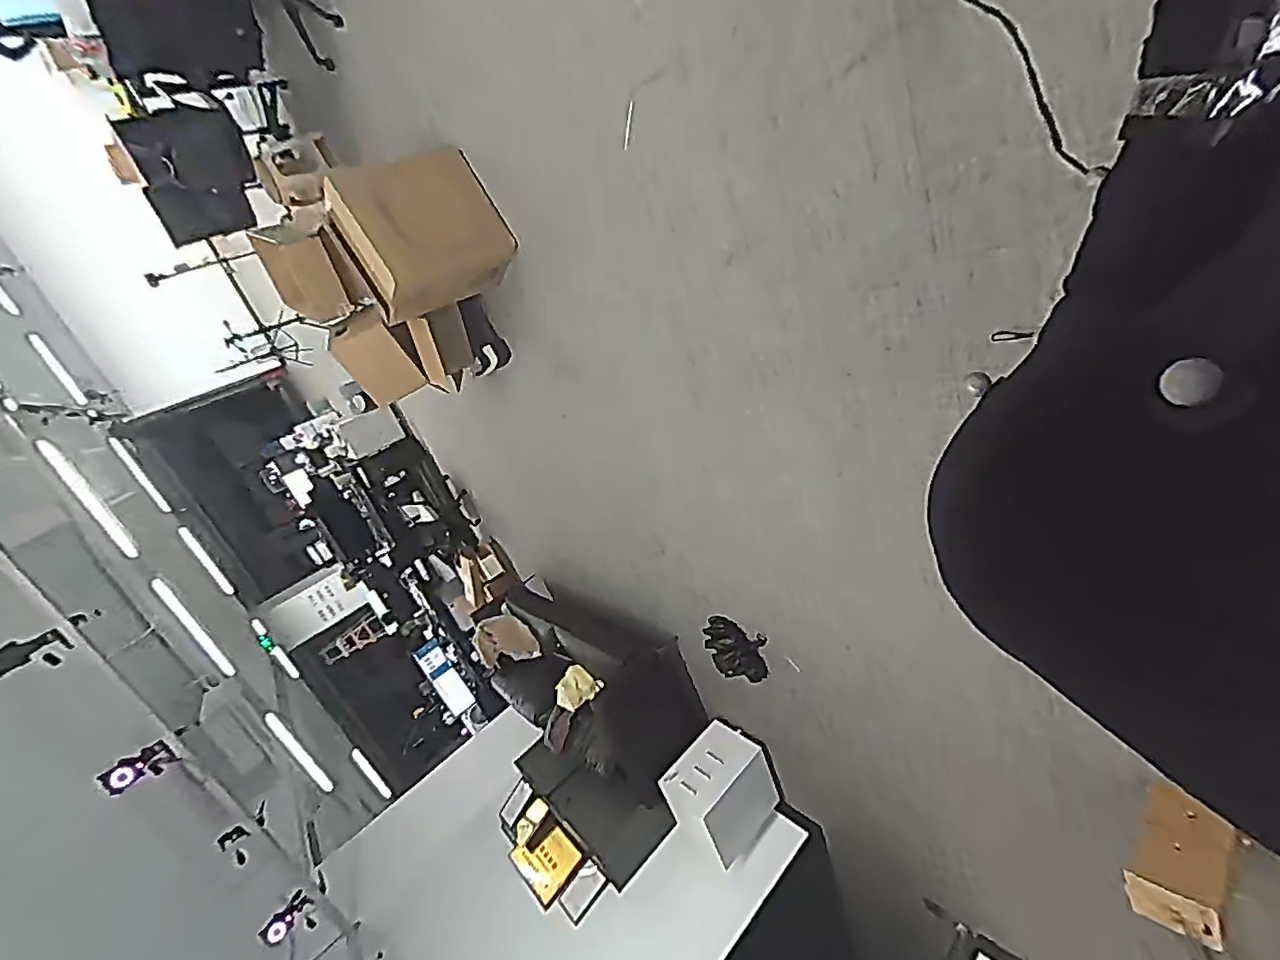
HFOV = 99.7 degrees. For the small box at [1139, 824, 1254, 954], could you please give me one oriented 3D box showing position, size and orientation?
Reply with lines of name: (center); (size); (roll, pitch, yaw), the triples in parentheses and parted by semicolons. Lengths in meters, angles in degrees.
small box: (1.431, 1.035, 1.390); (0.179, 0.176, 0.168); (1, 121, 56)
